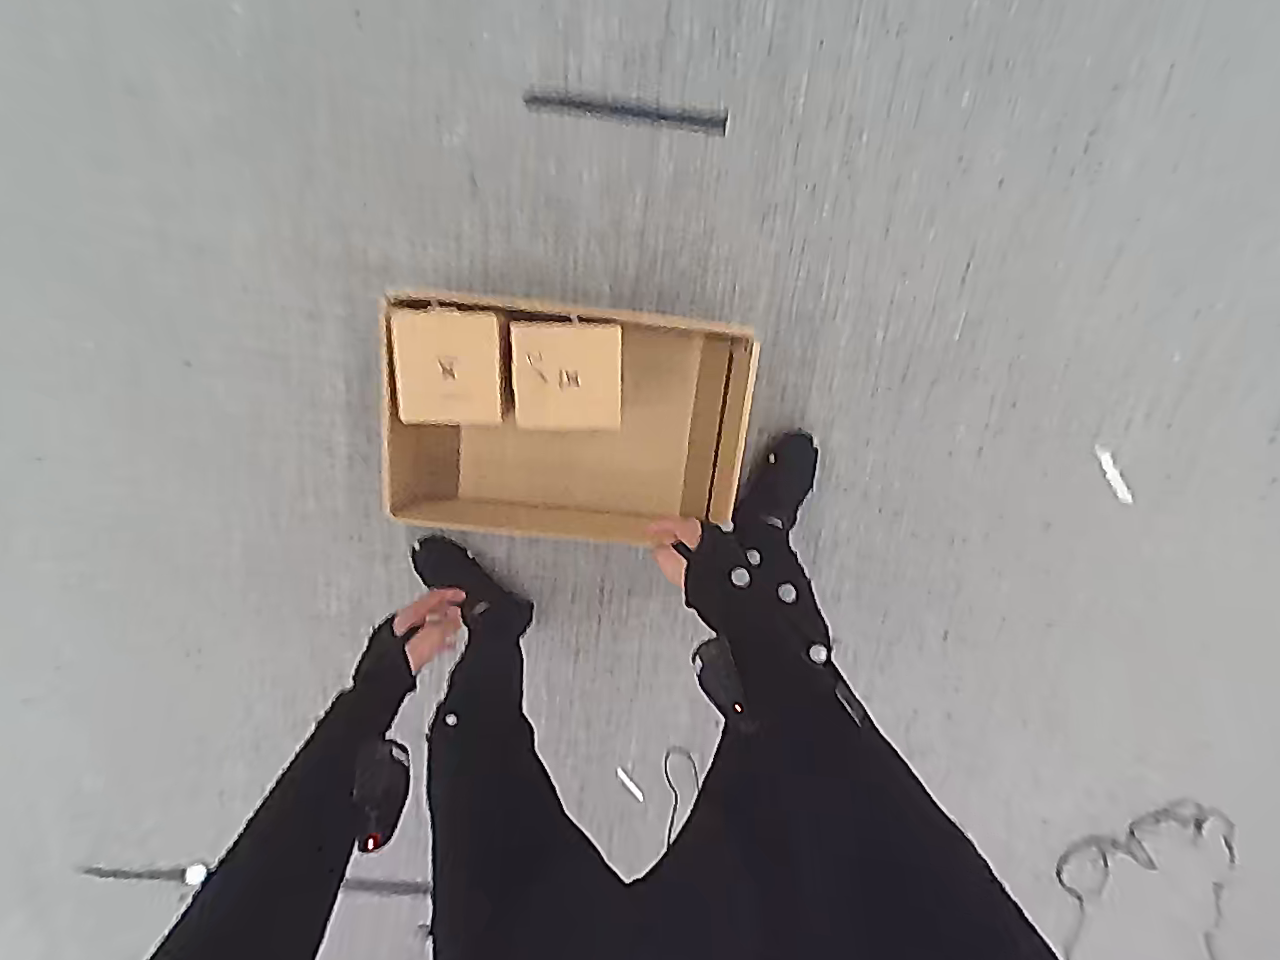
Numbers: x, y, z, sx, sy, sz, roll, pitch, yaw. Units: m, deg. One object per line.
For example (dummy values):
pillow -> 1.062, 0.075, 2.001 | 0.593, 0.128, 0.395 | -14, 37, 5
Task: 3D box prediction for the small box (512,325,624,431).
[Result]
small box -> -0.120, -0.182, 0.945 | 0.179, 0.176, 0.168 | 0, 106, -3
